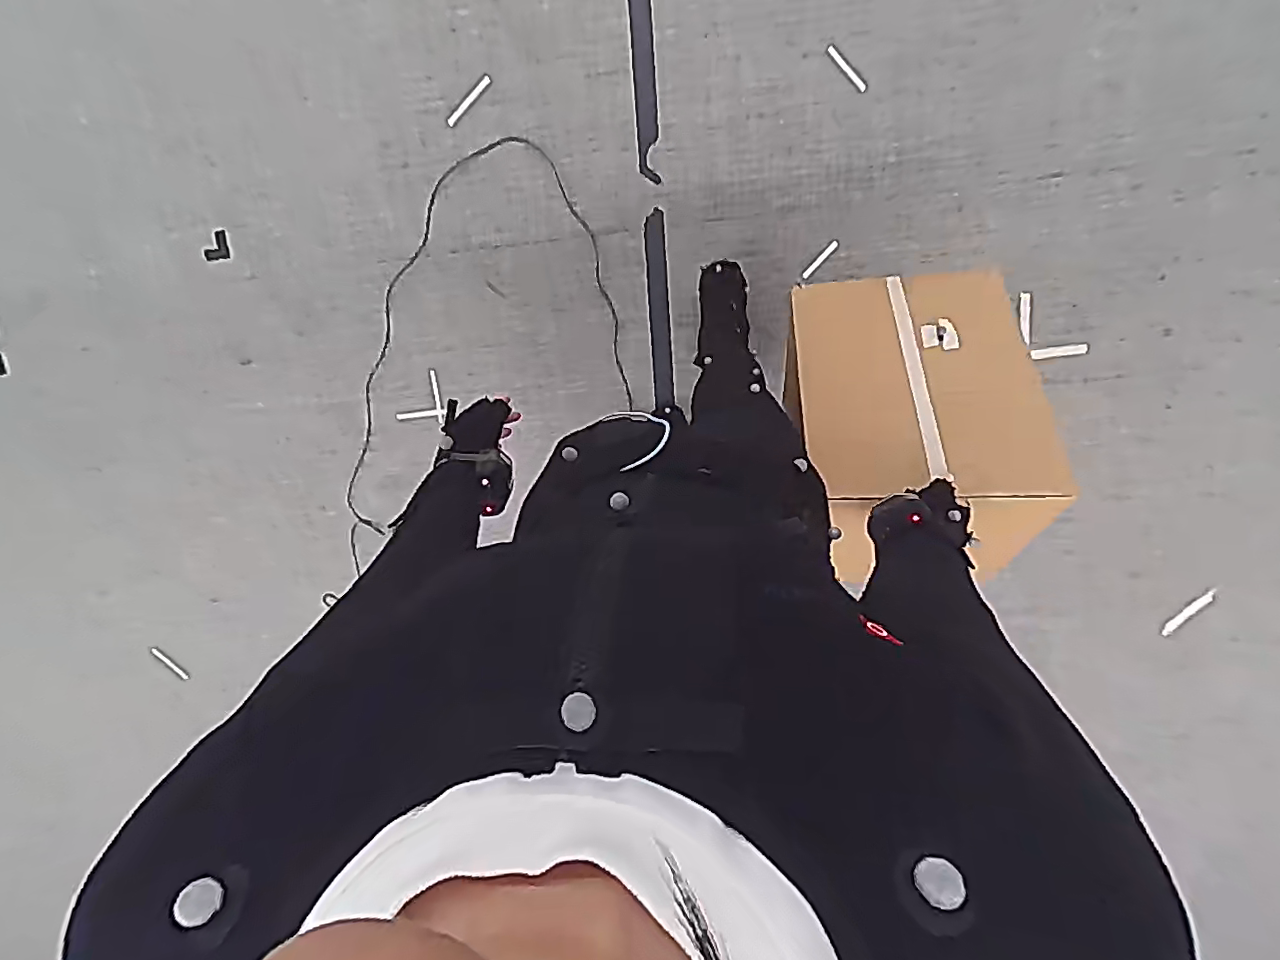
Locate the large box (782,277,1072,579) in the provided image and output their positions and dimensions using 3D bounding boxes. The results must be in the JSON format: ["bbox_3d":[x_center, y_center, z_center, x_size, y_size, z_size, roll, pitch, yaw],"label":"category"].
[{"bbox_3d":[0.419,-0.075,0.914,0.320,0.408,0.320,-1,148,9],"label":"large box"}]
